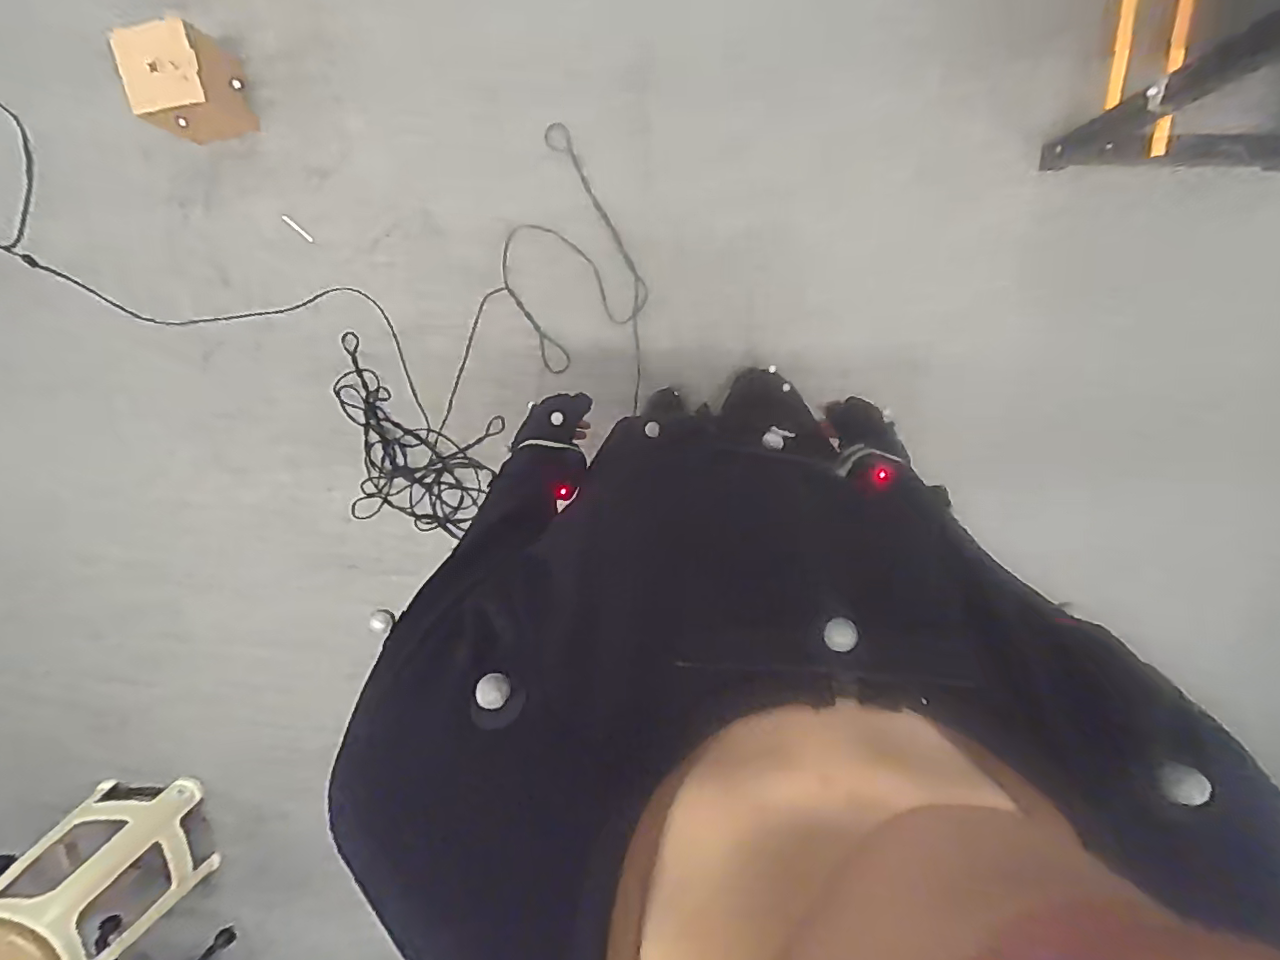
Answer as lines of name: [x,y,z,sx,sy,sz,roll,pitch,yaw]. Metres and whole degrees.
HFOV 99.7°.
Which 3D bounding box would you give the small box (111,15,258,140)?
small box: [-1.046,-0.921,1.256,0.179,0.176,0.168,-9,102,4]
